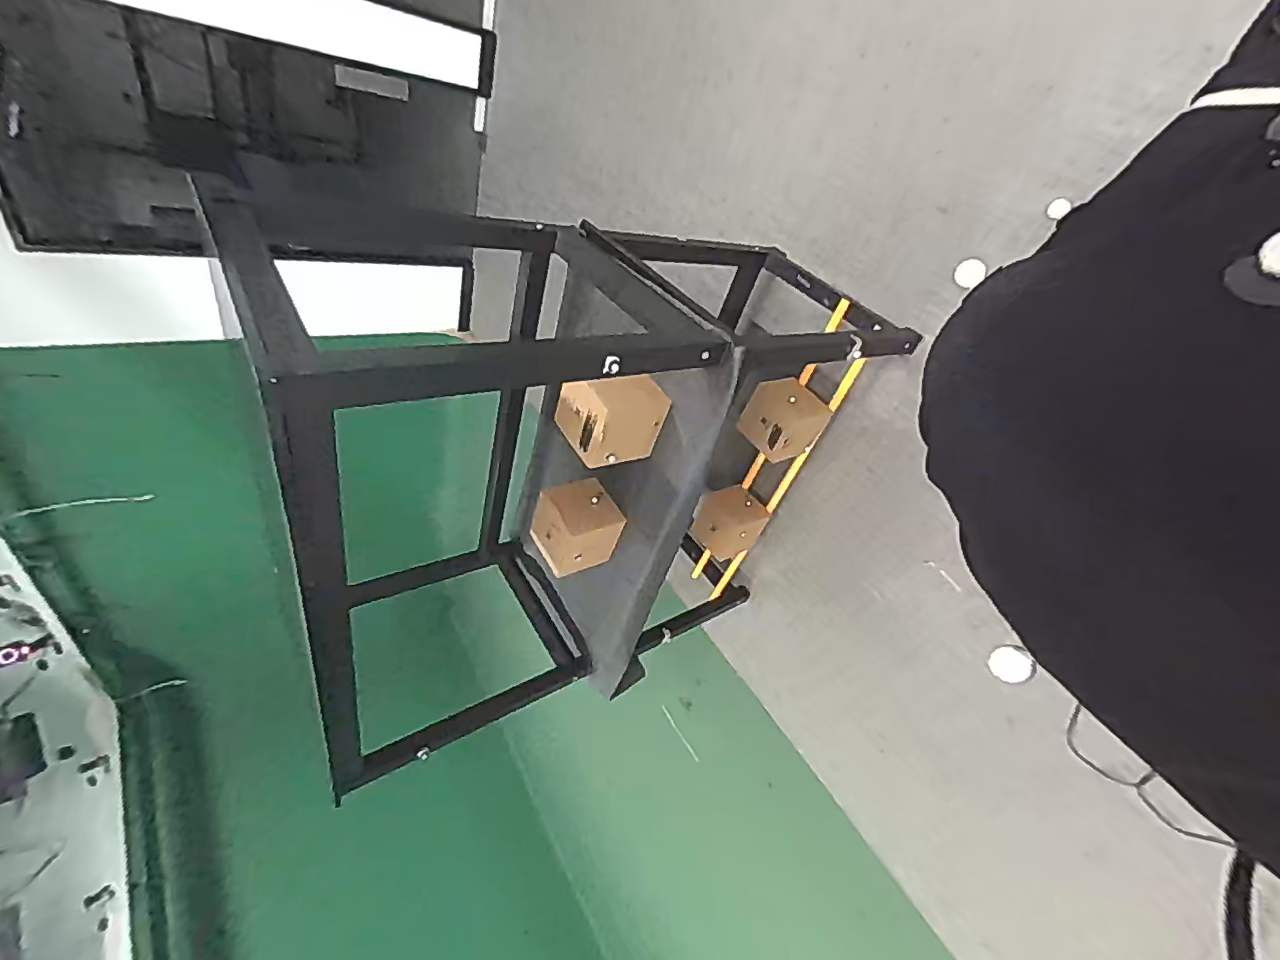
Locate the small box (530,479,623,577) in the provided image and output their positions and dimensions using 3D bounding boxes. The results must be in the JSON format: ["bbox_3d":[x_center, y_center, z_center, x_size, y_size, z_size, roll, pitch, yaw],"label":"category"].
[{"bbox_3d":[-0.167,0.123,1.429,0.168,0.176,0.179,52,138,29],"label":"small box"}]

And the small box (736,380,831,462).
[{"bbox_3d":[0.426,-0.181,1.596,0.179,0.176,0.168,52,137,29],"label":"small box"}]
